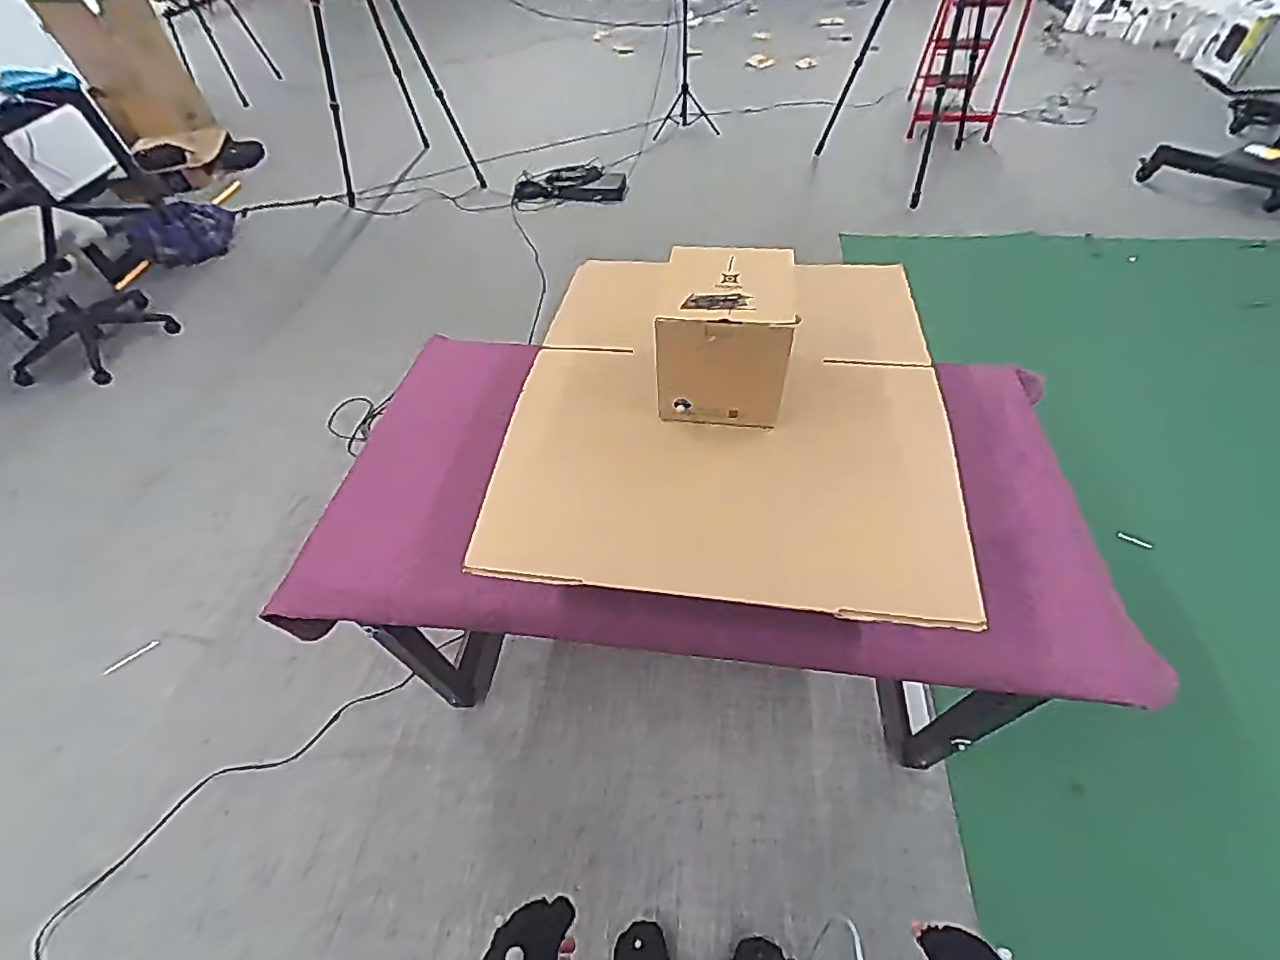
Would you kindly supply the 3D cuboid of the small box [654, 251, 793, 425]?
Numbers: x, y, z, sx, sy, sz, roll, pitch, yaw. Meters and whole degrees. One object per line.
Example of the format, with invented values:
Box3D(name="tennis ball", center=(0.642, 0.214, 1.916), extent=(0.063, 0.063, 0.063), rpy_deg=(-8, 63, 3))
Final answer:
Box3D(name="small box", center=(0.116, -0.194, 0.748), extent=(0.168, 0.176, 0.179), rpy_deg=(5, 51, 8))
